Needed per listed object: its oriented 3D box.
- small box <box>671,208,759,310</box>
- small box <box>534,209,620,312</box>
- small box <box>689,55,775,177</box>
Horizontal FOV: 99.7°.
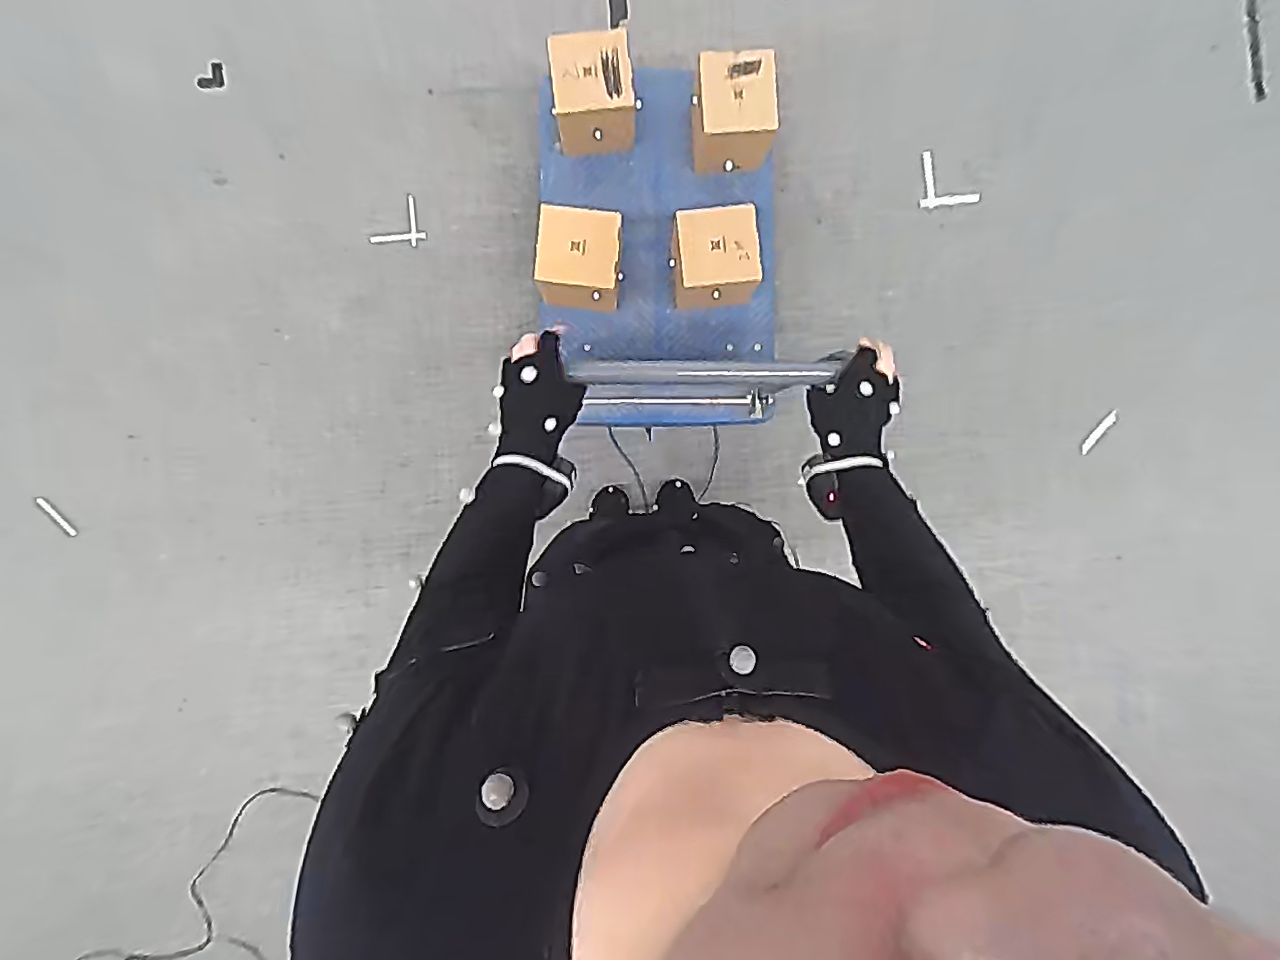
[{"bbox_3d":[0.166,-0.506,1.262,0.179,0.176,0.168,-6,90,-1],"label":"small box"},{"bbox_3d":[-0.140,-0.500,1.255,0.179,0.176,0.168,5,89,-3],"label":"small box"},{"bbox_3d":[0.208,-0.842,1.263,0.168,0.176,0.179,-4,91,-1],"label":"small box"}]
